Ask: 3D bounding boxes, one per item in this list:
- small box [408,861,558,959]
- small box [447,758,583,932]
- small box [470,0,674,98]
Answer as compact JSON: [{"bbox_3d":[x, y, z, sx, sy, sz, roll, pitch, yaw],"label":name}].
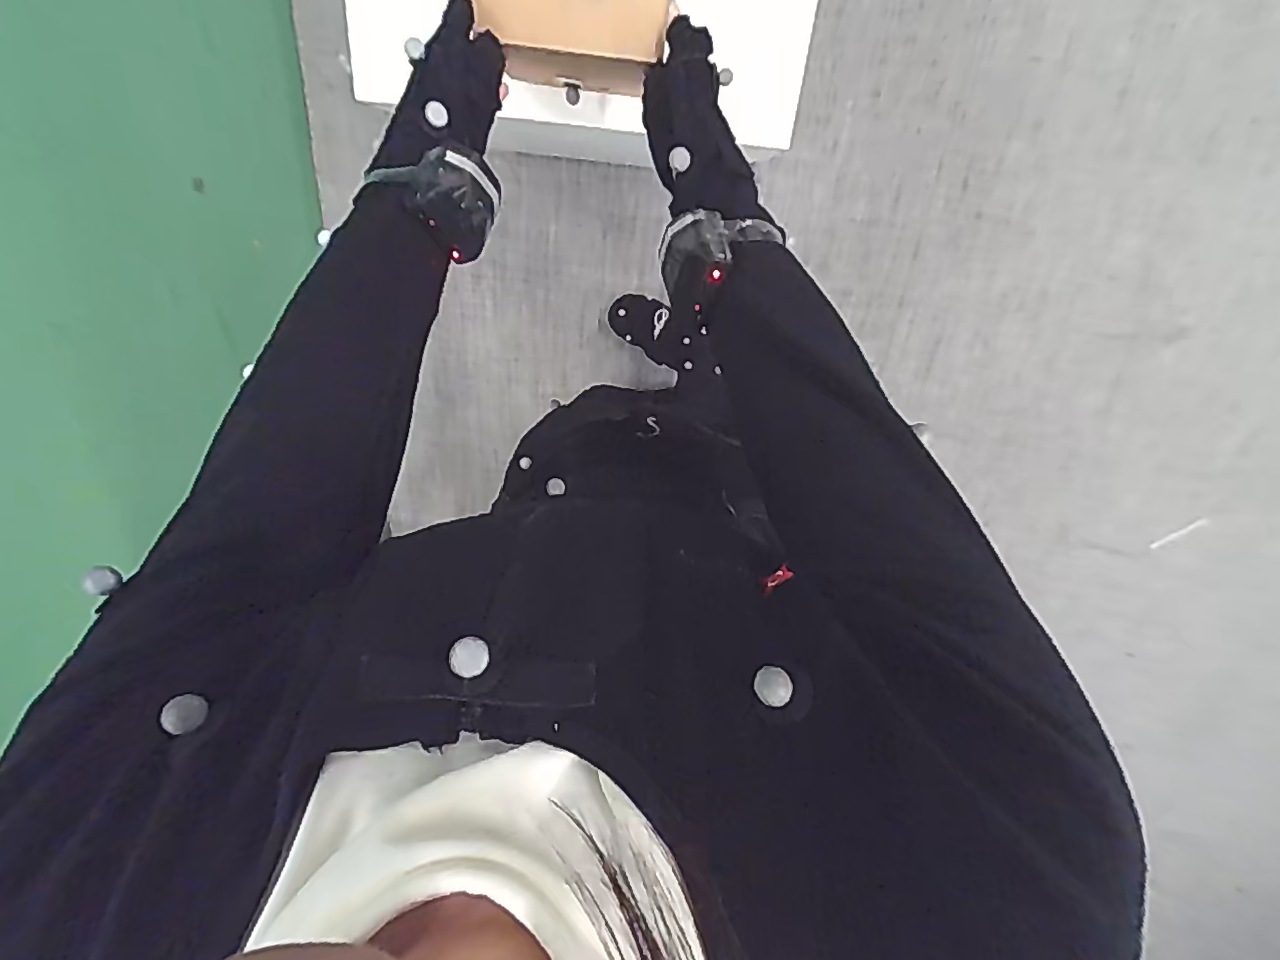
[{"bbox_3d":[-0.212,0.659,0.729,0.168,0.176,0.179,10,119,2],"label":"small box"},{"bbox_3d":[-0.194,0.581,0.873,0.179,0.176,0.168,9,118,1],"label":"small box"},{"bbox_3d":[-0.051,-0.475,0.493,0.168,0.176,0.179,6,117,1],"label":"small box"}]
